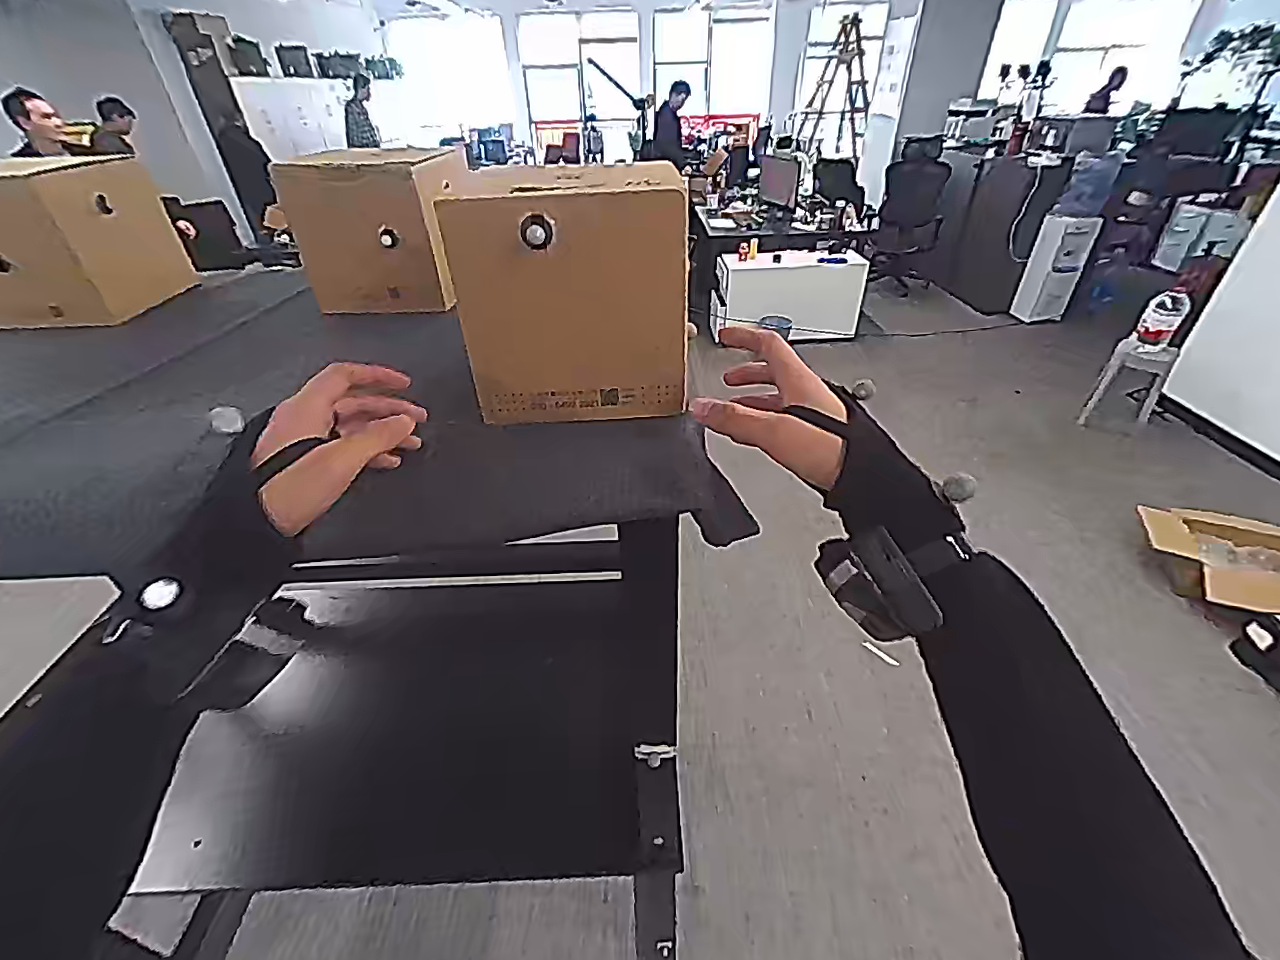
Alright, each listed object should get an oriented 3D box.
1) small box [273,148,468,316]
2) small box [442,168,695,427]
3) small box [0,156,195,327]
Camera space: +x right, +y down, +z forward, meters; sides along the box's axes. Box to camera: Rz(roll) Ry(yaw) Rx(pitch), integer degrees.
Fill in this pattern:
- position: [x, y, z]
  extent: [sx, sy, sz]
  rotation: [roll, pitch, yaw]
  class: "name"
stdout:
- position: [-0.313, -0.320, 0.697]
  extent: [0.168, 0.176, 0.179]
  rotation: [2, 36, 3]
  class: "small box"
- position: [-0.046, -0.158, 0.457]
  extent: [0.168, 0.176, 0.179]
  rotation: [-3, 35, 0]
  class: "small box"
- position: [-0.725, -0.301, 0.685]
  extent: [0.168, 0.176, 0.179]
  rotation: [-2, 36, -1]
  class: "small box"
